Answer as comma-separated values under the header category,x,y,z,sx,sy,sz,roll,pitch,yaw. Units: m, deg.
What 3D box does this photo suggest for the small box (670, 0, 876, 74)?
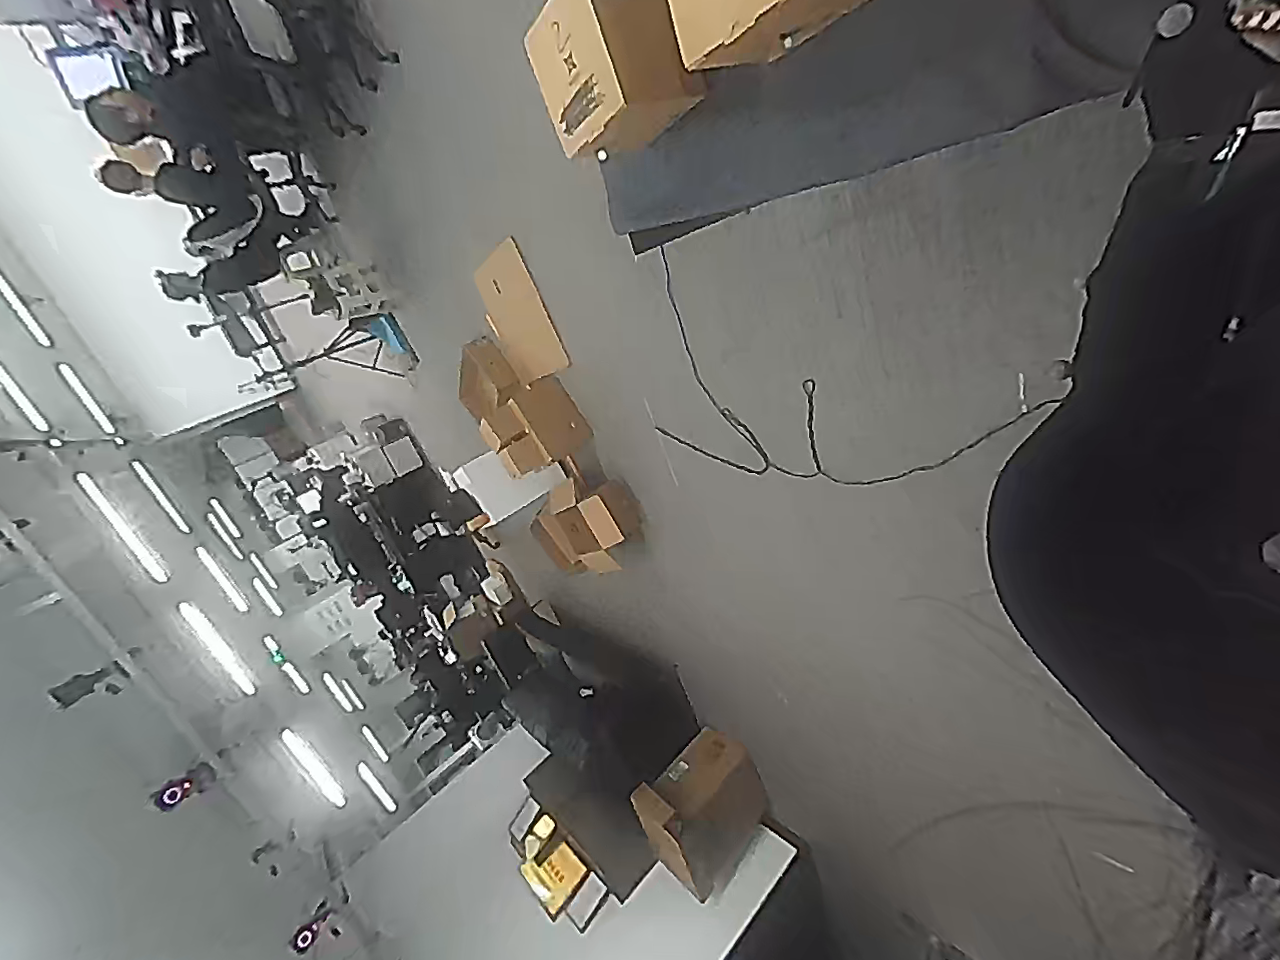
category,x,y,z,sx,sy,sz,roll,pitch,yaw
small box,0.141,-0.587,0.594,0.168,0.176,0.179,8,125,51
